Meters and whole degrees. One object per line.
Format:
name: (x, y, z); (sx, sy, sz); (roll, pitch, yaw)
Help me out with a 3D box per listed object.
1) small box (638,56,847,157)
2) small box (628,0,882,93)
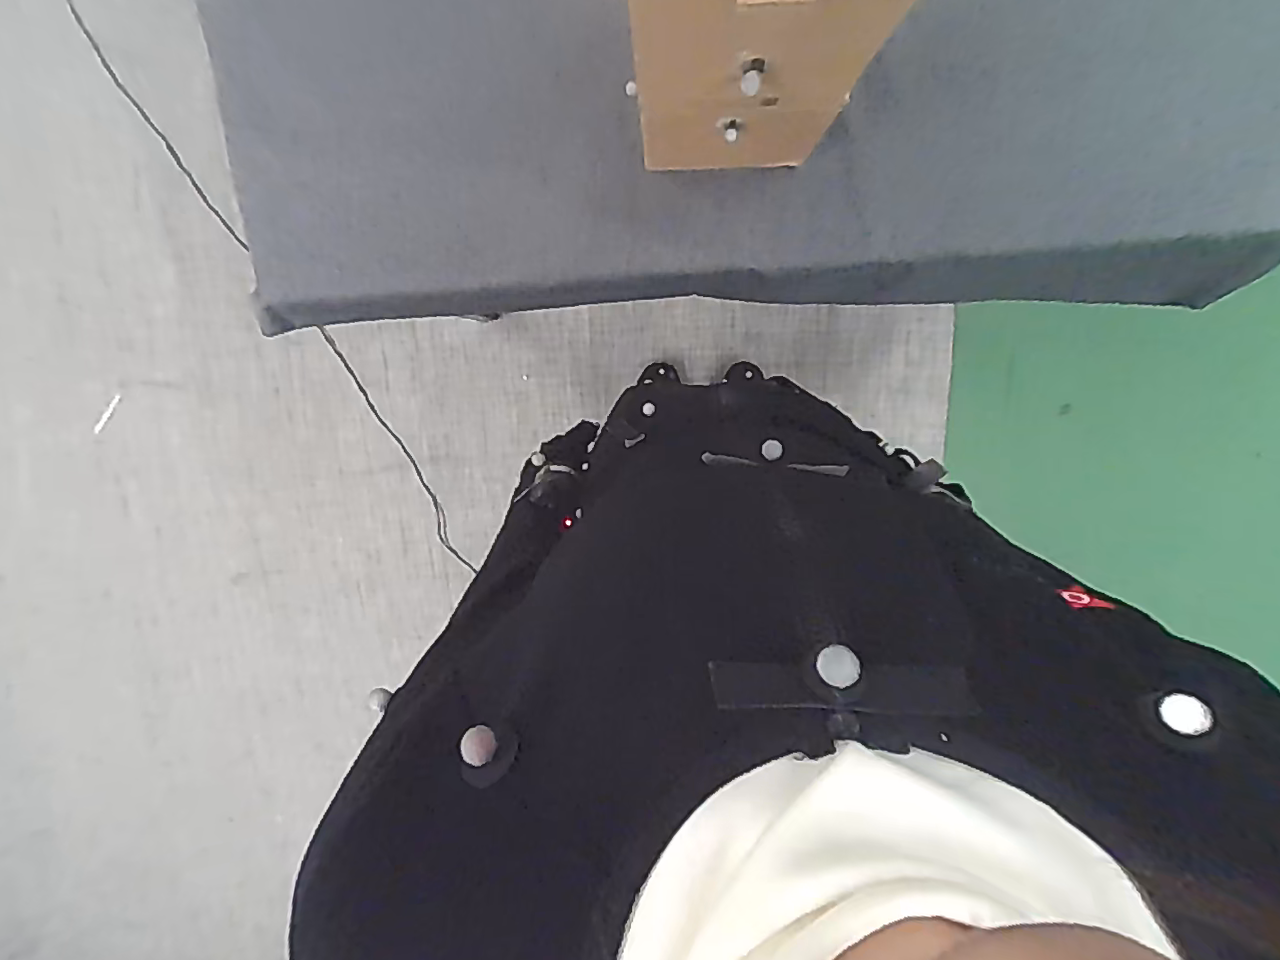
small box: (0.089, -0.427, 0.517); (0.179, 0.176, 0.168); (-1, 104, 2)
small box: (0.077, -0.385, 0.359); (0.168, 0.176, 0.179); (0, 105, 3)
